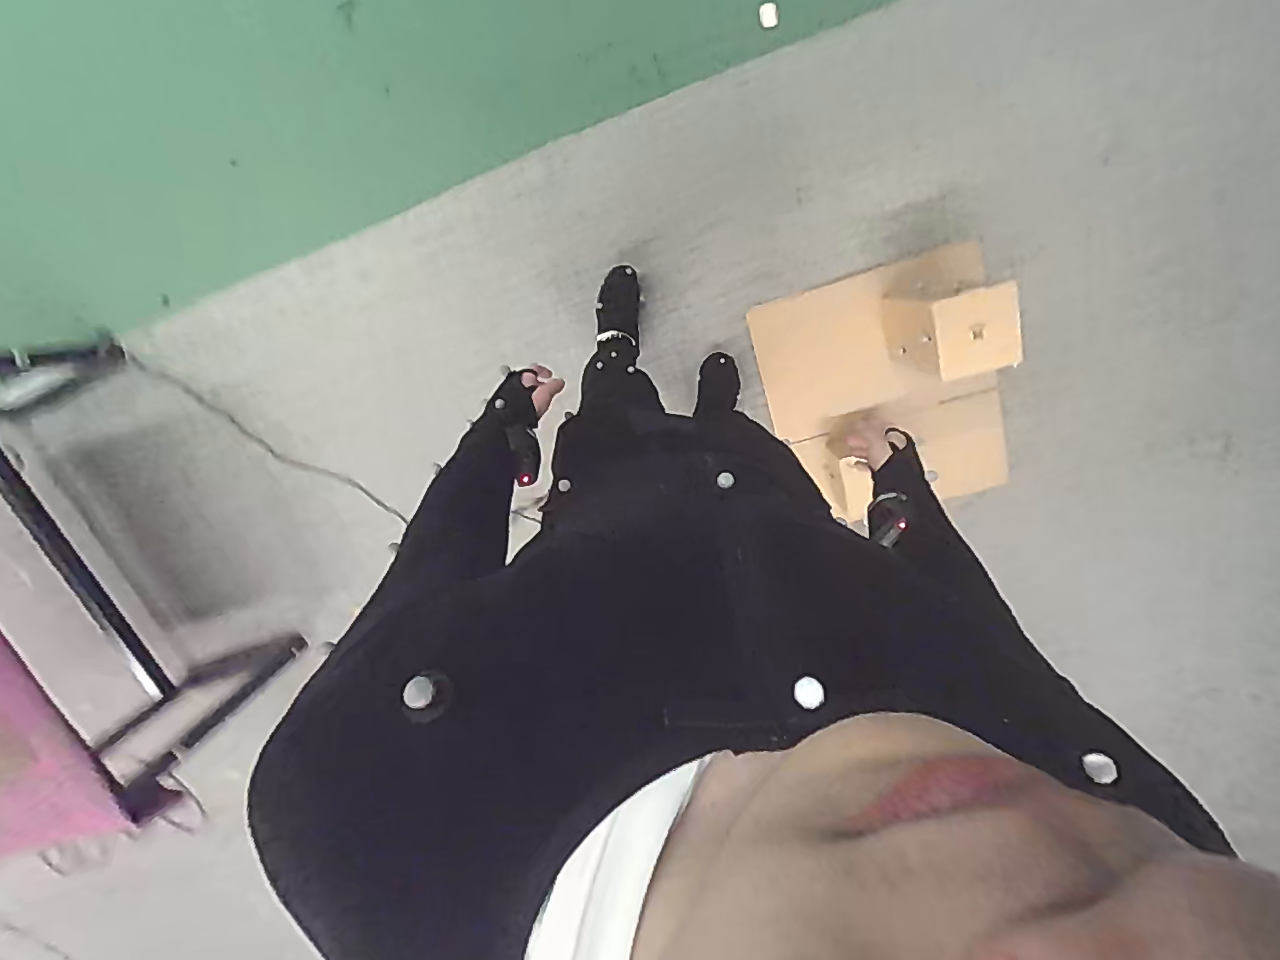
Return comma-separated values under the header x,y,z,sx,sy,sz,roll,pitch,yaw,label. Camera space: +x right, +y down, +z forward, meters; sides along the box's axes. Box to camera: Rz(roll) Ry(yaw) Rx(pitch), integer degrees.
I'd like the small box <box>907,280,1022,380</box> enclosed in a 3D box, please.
x,y,z,sx,sy,sz,roll,pitch,yaw,label
0.722,-0.339,1.216,0.168,0.176,0.179,-13,106,11,small box

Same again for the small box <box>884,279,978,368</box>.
x,y,z,sx,sy,sz,roll,pitch,yaw,label
0.736,-0.397,1.366,0.168,0.176,0.179,-14,106,10,small box

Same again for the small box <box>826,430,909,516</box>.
x,y,z,sx,sy,sz,roll,pitch,yaw,label
0.630,-0.023,1.507,0.168,0.176,0.179,-12,107,9,small box
